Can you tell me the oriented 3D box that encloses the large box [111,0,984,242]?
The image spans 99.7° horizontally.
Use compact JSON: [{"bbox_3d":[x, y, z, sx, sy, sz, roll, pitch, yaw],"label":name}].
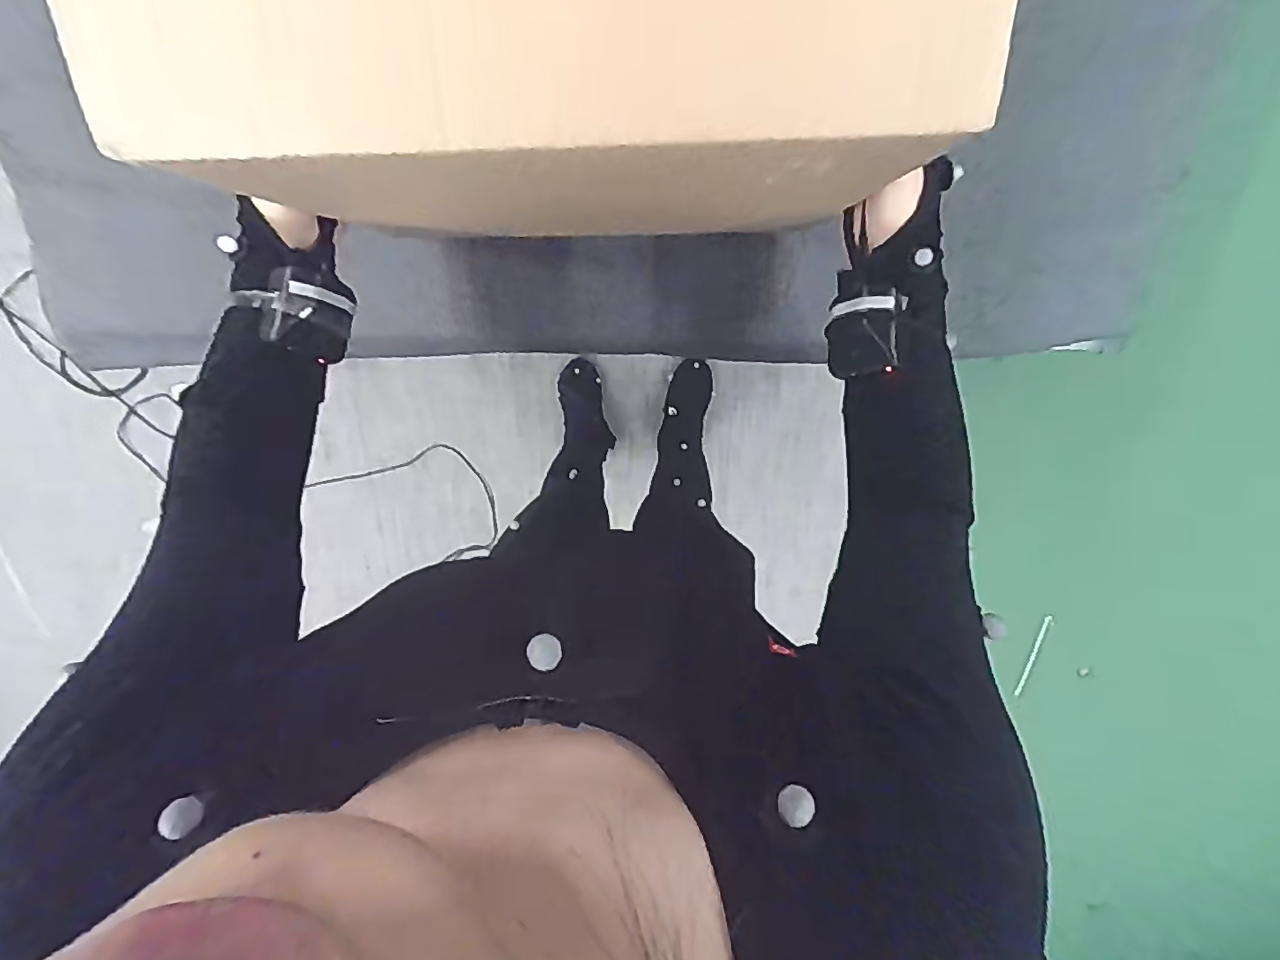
[{"bbox_3d":[-0.044,-0.350,0.359,0.408,0.320,0.320,0,108,2],"label":"large box"}]
